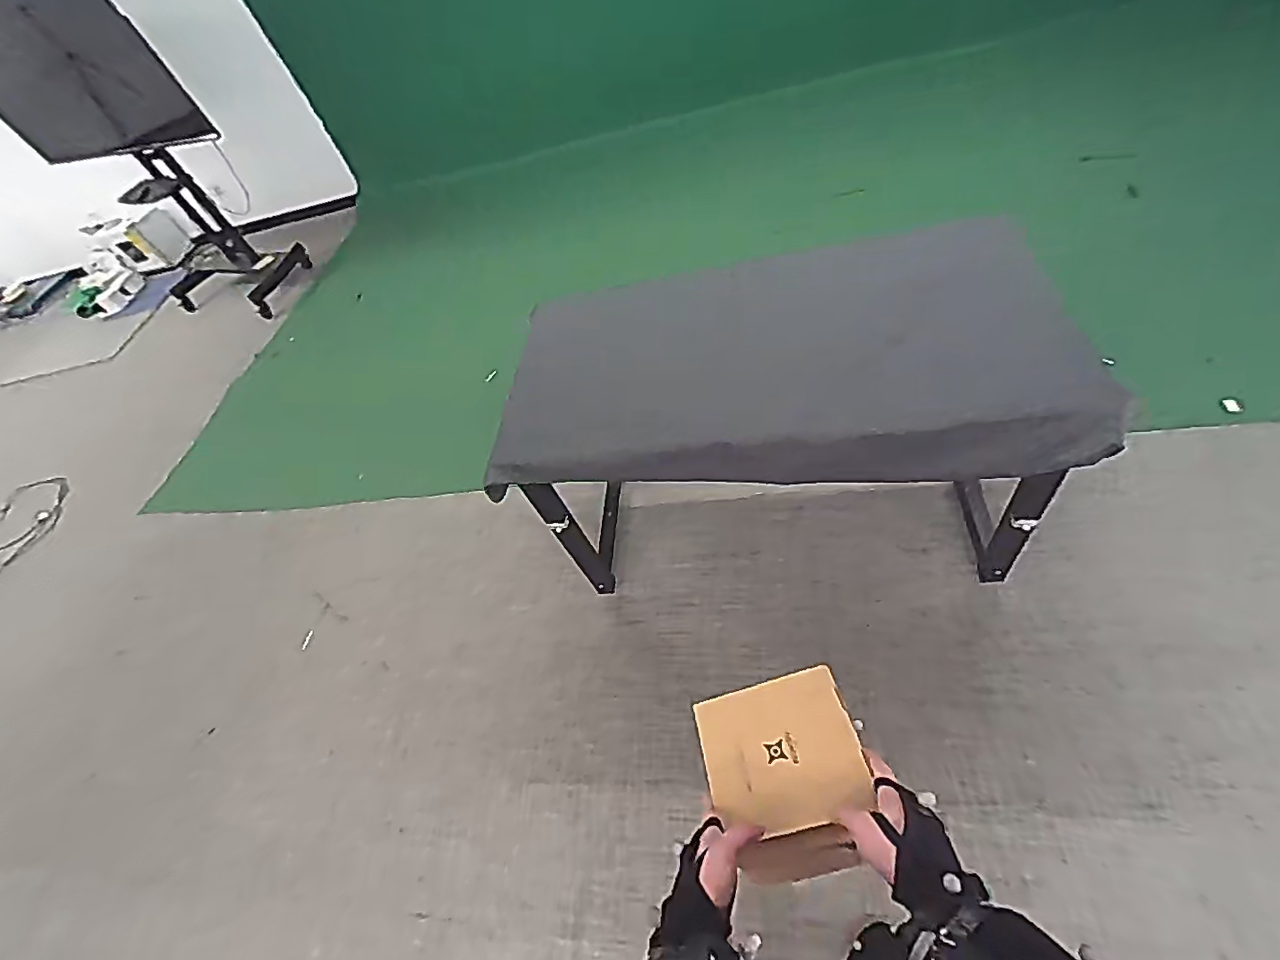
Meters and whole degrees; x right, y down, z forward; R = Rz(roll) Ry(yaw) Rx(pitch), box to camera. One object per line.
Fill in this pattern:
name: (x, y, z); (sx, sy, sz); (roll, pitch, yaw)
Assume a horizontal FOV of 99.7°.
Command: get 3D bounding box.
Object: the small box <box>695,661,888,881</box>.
small box: (0.183, 0.353, 0.653); (0.179, 0.176, 0.168); (-20, 36, 9)
